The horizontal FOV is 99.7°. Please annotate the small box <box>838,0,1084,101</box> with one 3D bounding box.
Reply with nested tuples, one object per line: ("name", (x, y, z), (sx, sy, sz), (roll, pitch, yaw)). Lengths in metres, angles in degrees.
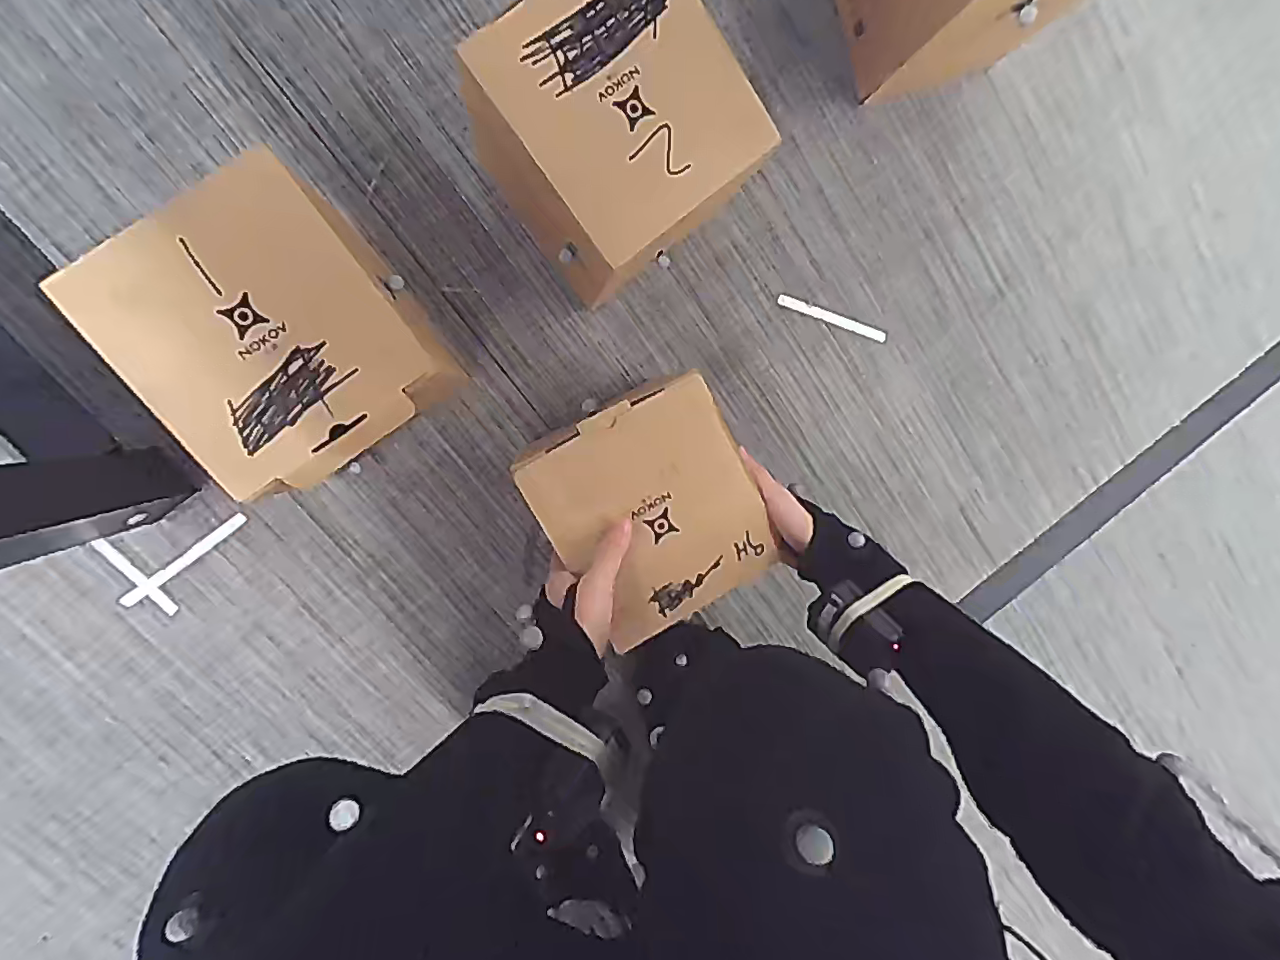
("small box", (0.306, -0.493, 0.495), (0.179, 0.176, 0.168), (-21, 101, -7))
